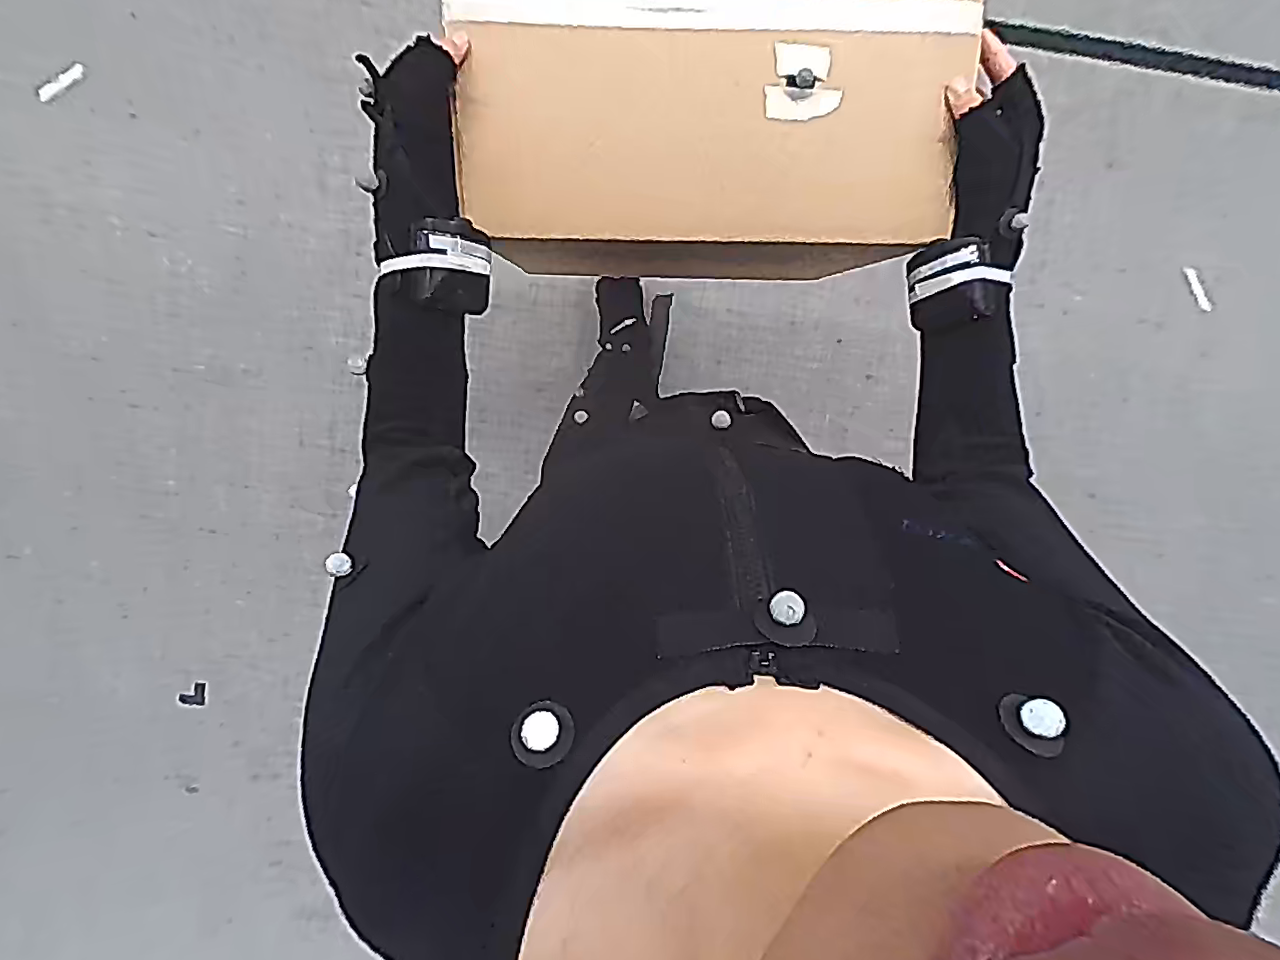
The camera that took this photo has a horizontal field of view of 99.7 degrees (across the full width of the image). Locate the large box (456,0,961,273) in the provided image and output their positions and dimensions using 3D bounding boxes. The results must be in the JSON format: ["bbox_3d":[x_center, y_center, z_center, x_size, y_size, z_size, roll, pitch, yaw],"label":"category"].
[{"bbox_3d":[0.048,-0.400,0.567,0.408,0.320,0.320,-1,106,-3],"label":"large box"}]
